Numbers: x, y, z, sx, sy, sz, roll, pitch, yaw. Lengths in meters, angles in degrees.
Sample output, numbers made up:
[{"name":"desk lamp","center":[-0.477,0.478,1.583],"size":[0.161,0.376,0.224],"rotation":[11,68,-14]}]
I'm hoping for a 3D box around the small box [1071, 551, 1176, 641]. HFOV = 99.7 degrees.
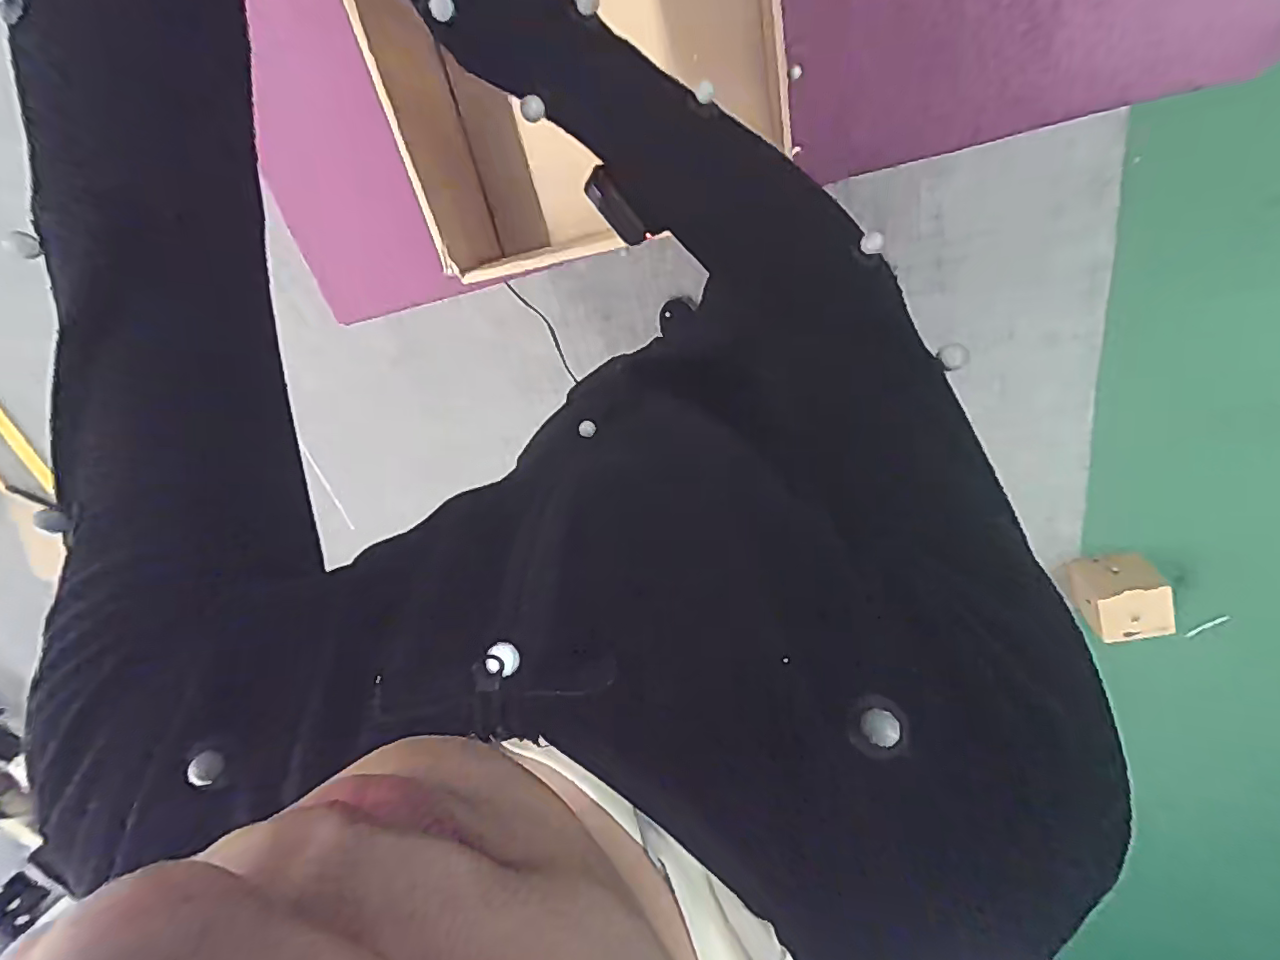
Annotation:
[{"name":"small box","center":[1.363,0.322,1.534],"size":[0.168,0.176,0.179],"rotation":[-18,113,23]}]
